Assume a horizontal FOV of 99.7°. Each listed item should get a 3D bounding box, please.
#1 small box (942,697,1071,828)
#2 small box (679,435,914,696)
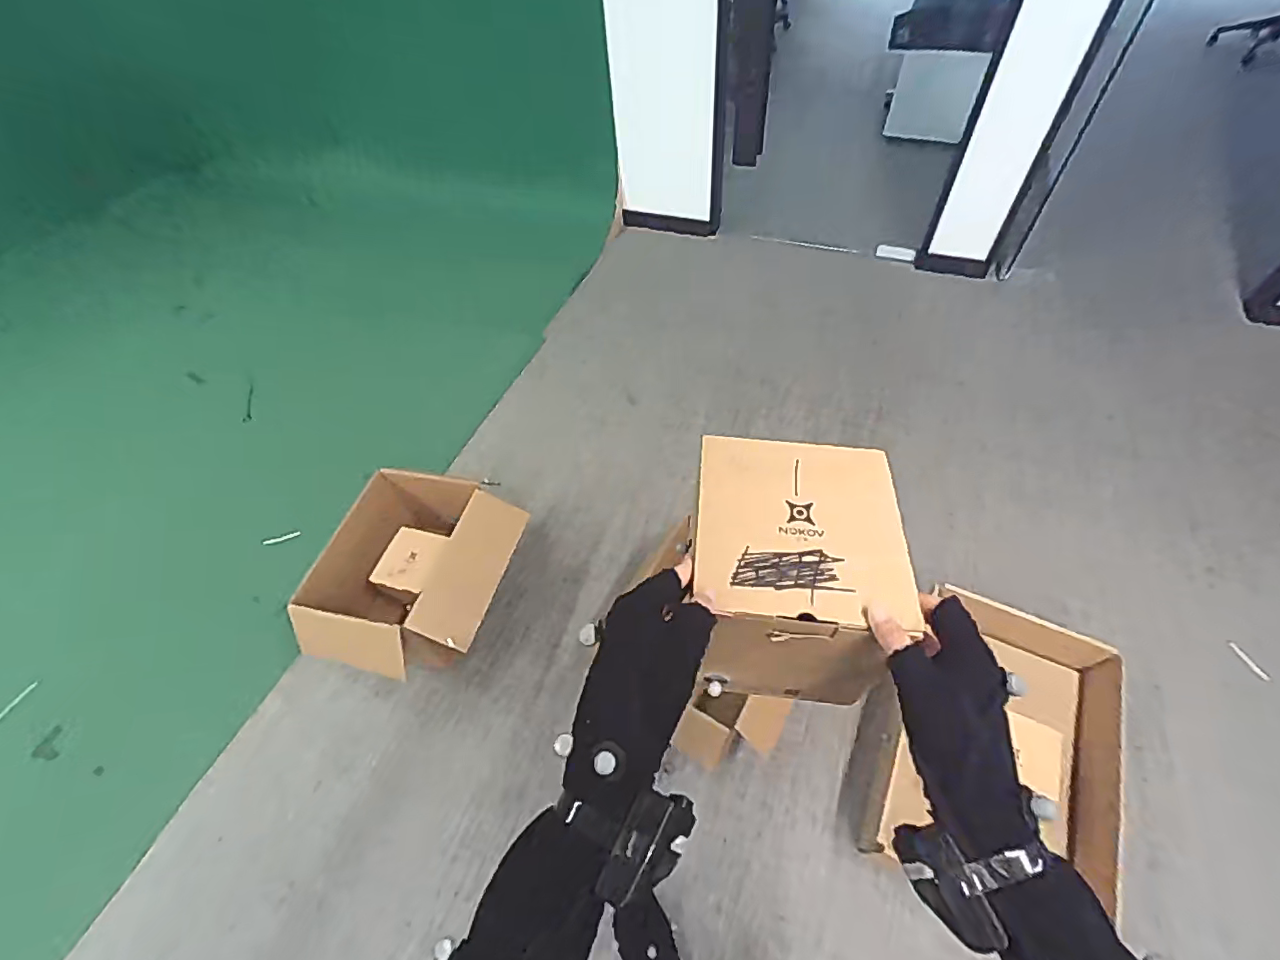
[{"bbox_3d":[0.756,0.591,1.126,0.168,0.176,0.179,21,58,19],"label":"small box"},{"bbox_3d":[0.126,0.083,0.501,0.168,0.176,0.179,5,50,5],"label":"small box"}]
